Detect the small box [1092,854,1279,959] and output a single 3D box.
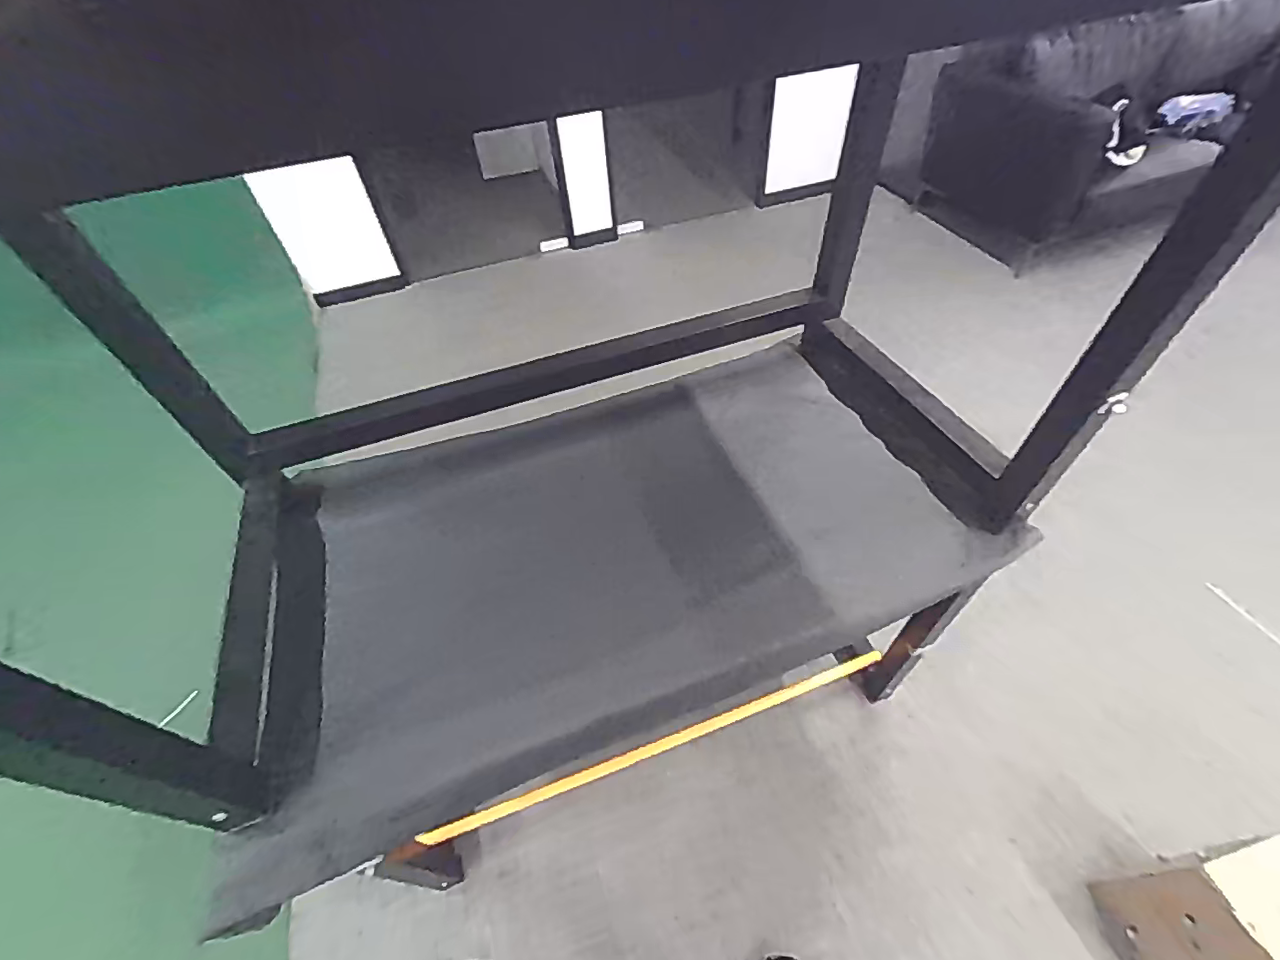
[{"bbox_3d":[1.036,0.843,1.033,0.179,0.176,0.168,-13,49,-6],"label":"small box"}]
